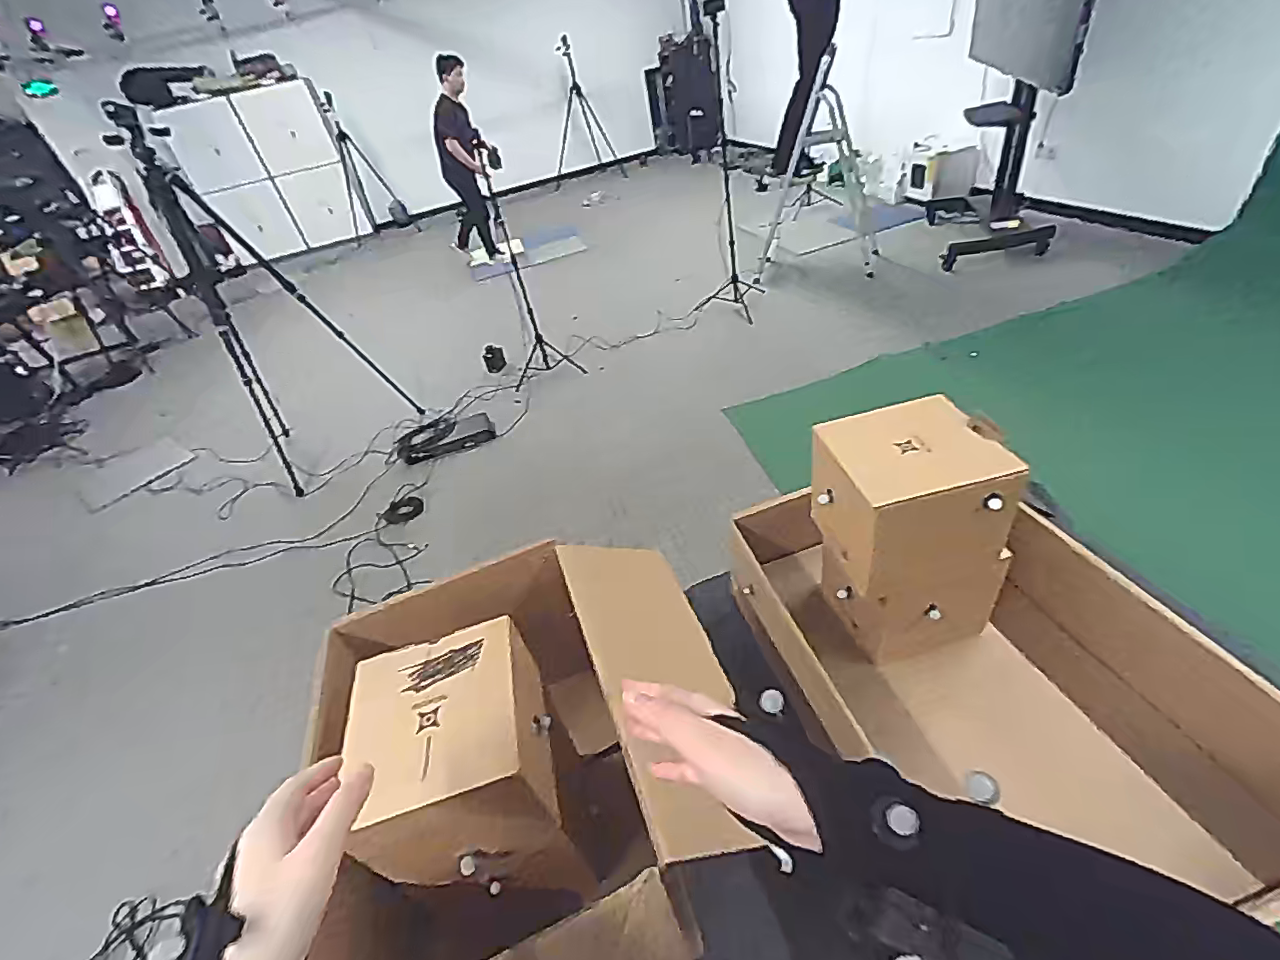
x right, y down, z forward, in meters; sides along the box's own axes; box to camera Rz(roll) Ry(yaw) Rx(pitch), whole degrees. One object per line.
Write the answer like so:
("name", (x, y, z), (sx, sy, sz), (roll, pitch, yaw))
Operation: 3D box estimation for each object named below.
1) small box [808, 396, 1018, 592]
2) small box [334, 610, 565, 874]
("small box", (0.330, 0.021, 0.695), (0.179, 0.176, 0.168), (-13, 41, -1))
("small box", (-0.187, 0.276, 0.576), (0.168, 0.176, 0.179), (-17, 41, -5))
